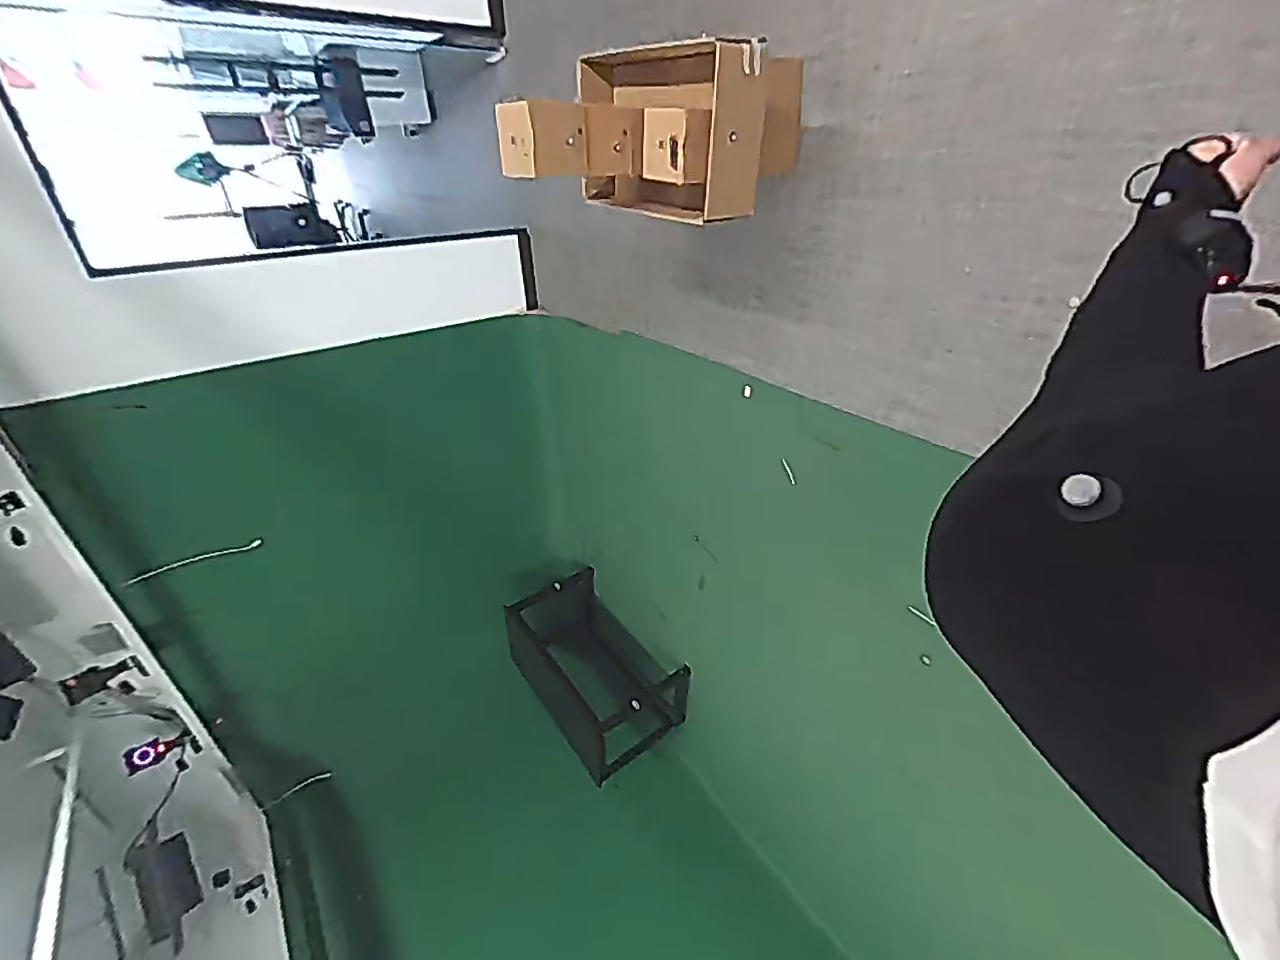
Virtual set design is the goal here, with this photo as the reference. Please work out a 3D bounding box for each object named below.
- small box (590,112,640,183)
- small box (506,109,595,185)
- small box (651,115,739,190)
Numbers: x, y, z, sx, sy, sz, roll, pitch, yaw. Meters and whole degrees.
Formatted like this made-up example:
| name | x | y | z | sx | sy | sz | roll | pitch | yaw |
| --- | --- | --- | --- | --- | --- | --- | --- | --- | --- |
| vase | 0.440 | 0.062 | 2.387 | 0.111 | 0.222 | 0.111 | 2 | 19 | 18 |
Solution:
| name | x | y | z | sx | sy | sz | roll | pitch | yaw |
| --- | --- | --- | --- | --- | --- | --- | --- | --- | --- |
| small box | -0.118 | -0.953 | 1.550 | 0.179 | 0.176 | 0.168 | 34 | 135 | 40 |
| small box | -0.238 | -0.892 | 1.452 | 0.179 | 0.176 | 0.168 | 32 | 134 | 41 |
| small box | 0.148 | -0.897 | 1.476 | 0.179 | 0.176 | 0.168 | 39 | 138 | 43 |
